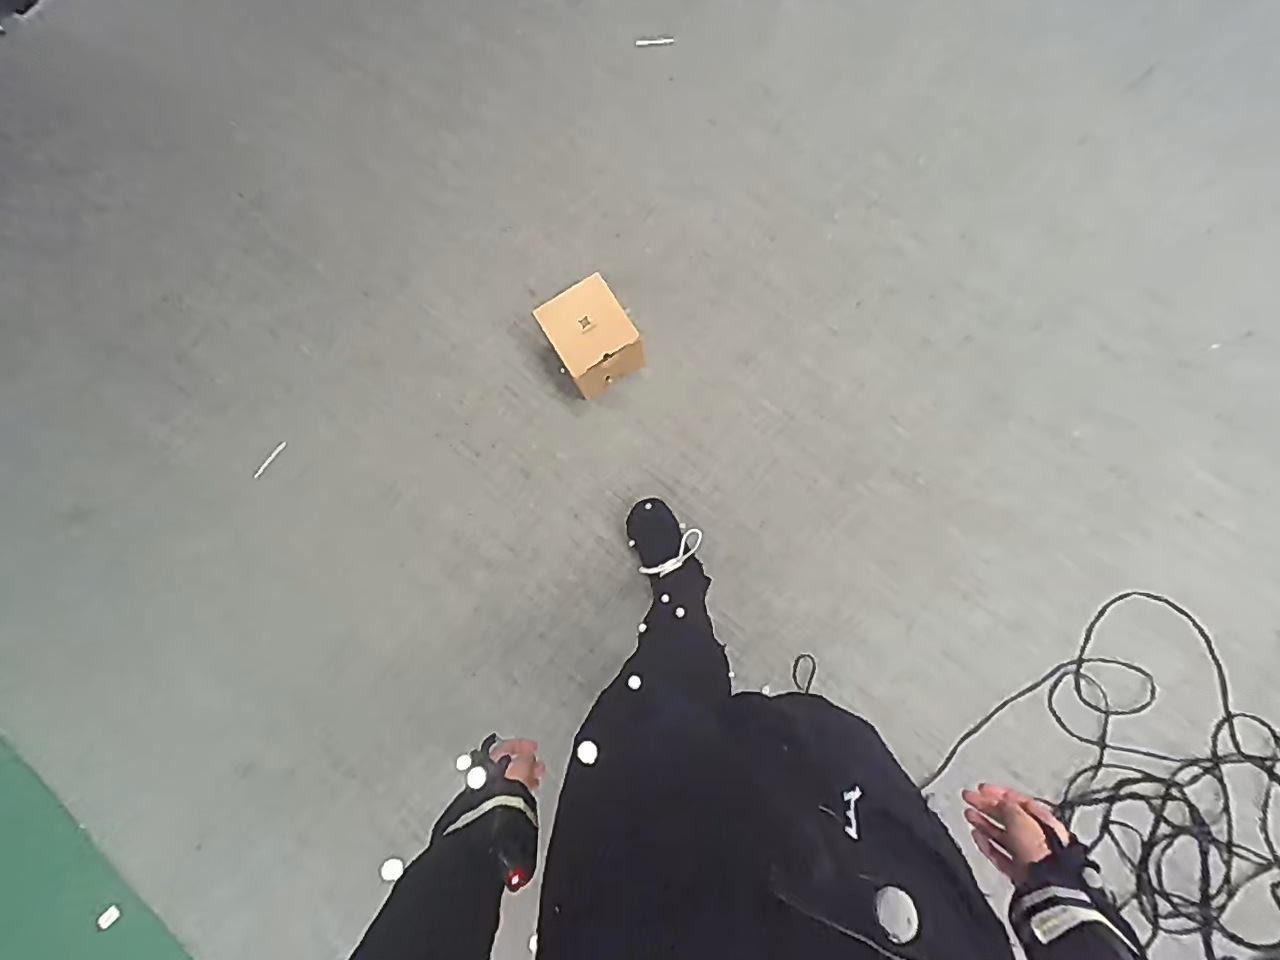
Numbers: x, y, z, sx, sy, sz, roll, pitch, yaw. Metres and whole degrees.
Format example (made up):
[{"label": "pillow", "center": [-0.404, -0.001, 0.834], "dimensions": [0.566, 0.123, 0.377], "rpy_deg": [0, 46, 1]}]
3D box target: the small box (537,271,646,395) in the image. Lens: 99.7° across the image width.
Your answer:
[{"label": "small box", "center": [-0.101, -0.316, 1.197], "dimensions": [0.168, 0.176, 0.179], "rpy_deg": [-32, 82, -1]}]
